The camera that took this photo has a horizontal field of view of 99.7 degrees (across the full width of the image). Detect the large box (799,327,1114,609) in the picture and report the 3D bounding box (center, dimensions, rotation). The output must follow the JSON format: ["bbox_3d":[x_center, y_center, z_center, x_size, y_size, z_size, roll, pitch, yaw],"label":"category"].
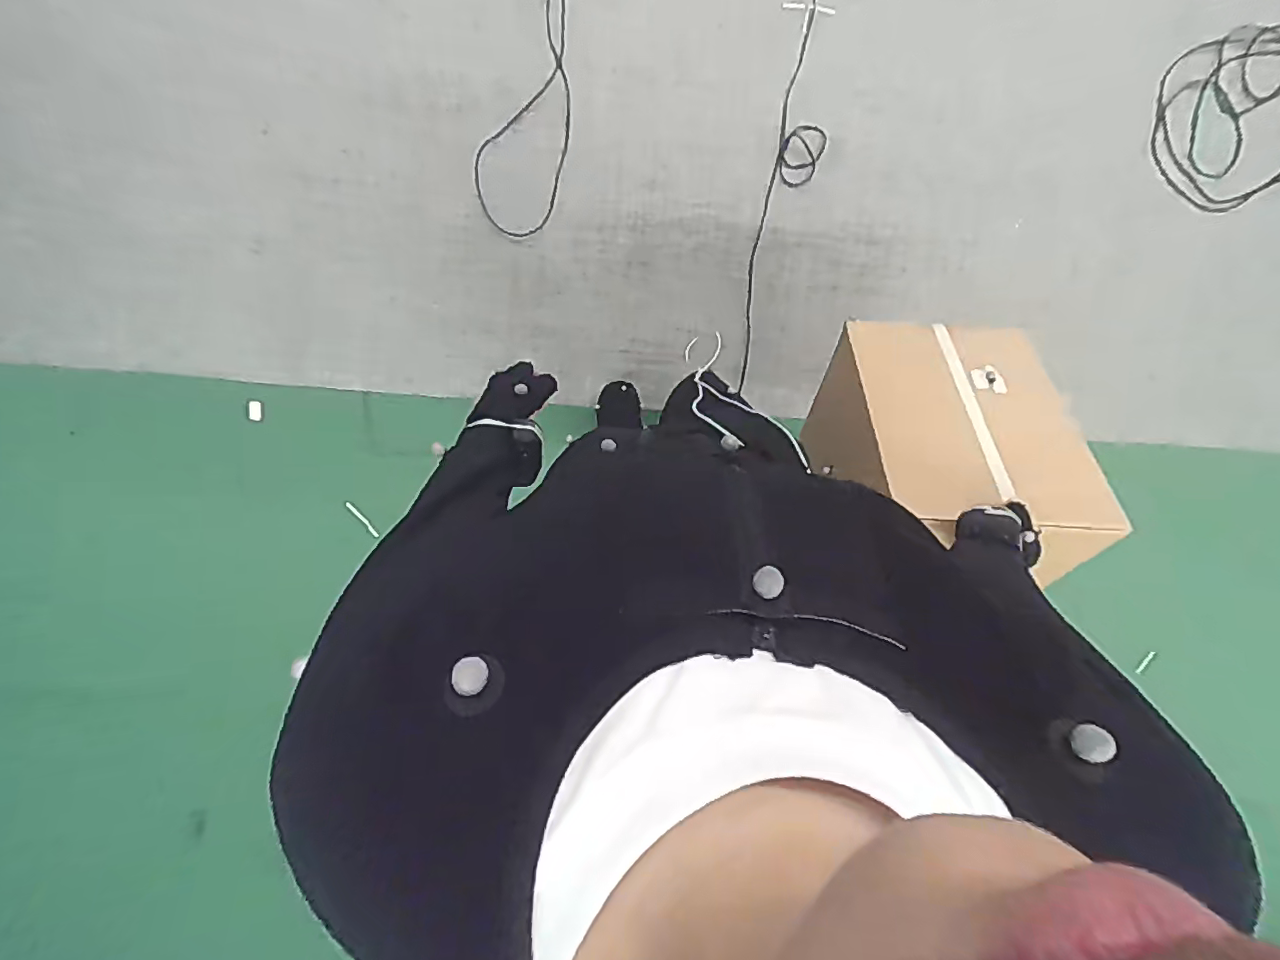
[{"bbox_3d":[0.495,-0.015,0.964,0.320,0.320,0.408,3,55,0],"label":"large box"}]
